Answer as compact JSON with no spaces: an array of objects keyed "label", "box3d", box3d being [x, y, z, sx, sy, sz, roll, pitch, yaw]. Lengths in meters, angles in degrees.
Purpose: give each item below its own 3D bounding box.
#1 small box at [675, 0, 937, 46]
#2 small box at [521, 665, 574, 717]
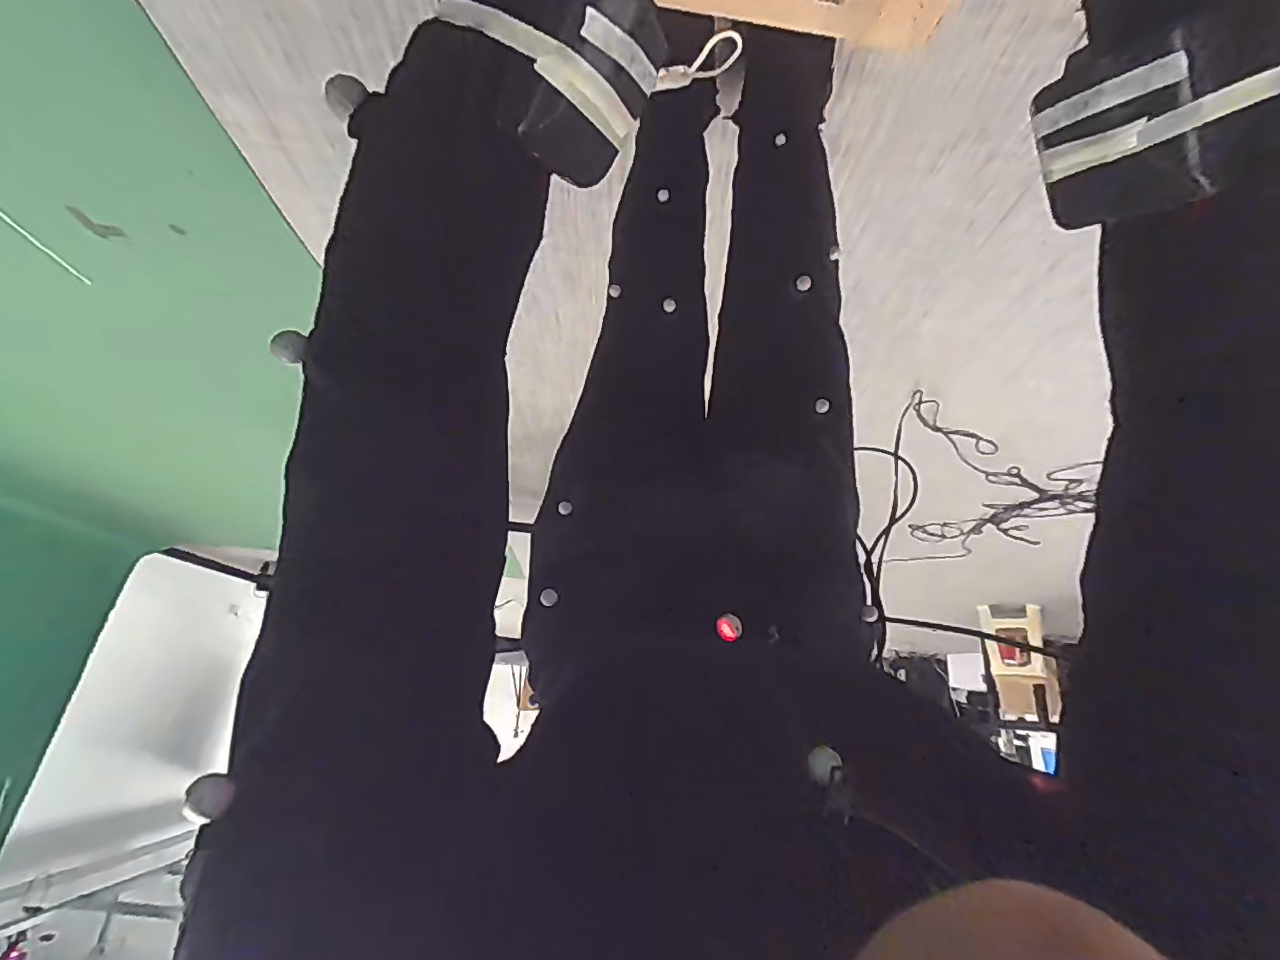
[{"label":"small box","box3d":[0.092,-0.354,0.241,0.168,0.179,0.176,6,167,-4]},{"label":"small box","box3d":[-0.337,0.782,2.004,0.168,0.176,0.179,6,157,-1]}]
